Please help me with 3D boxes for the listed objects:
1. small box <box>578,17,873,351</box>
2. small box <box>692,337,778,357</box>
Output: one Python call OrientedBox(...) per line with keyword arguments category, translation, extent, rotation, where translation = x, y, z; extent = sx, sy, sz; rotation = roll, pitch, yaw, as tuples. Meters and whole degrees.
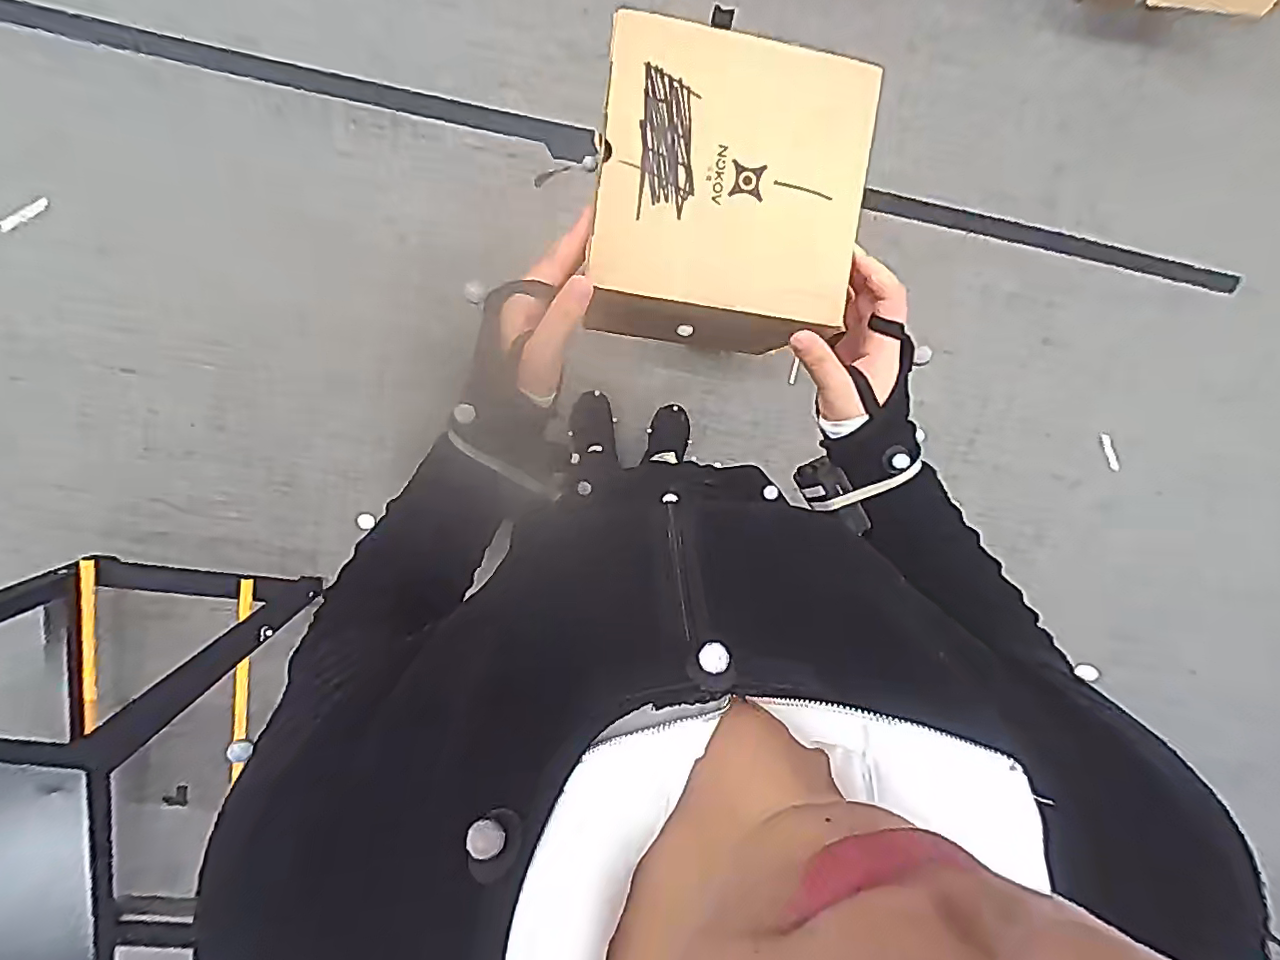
OrientedBox(category="small box", translation=(0.047, -0.202, 0.425), extent=(0.179, 0.176, 0.168), rotation=(6, 96, -7))
OrientedBox(category="small box", translation=(0.211, -0.374, 1.193), extent=(0.168, 0.176, 0.179), rotation=(10, 101, -7))
